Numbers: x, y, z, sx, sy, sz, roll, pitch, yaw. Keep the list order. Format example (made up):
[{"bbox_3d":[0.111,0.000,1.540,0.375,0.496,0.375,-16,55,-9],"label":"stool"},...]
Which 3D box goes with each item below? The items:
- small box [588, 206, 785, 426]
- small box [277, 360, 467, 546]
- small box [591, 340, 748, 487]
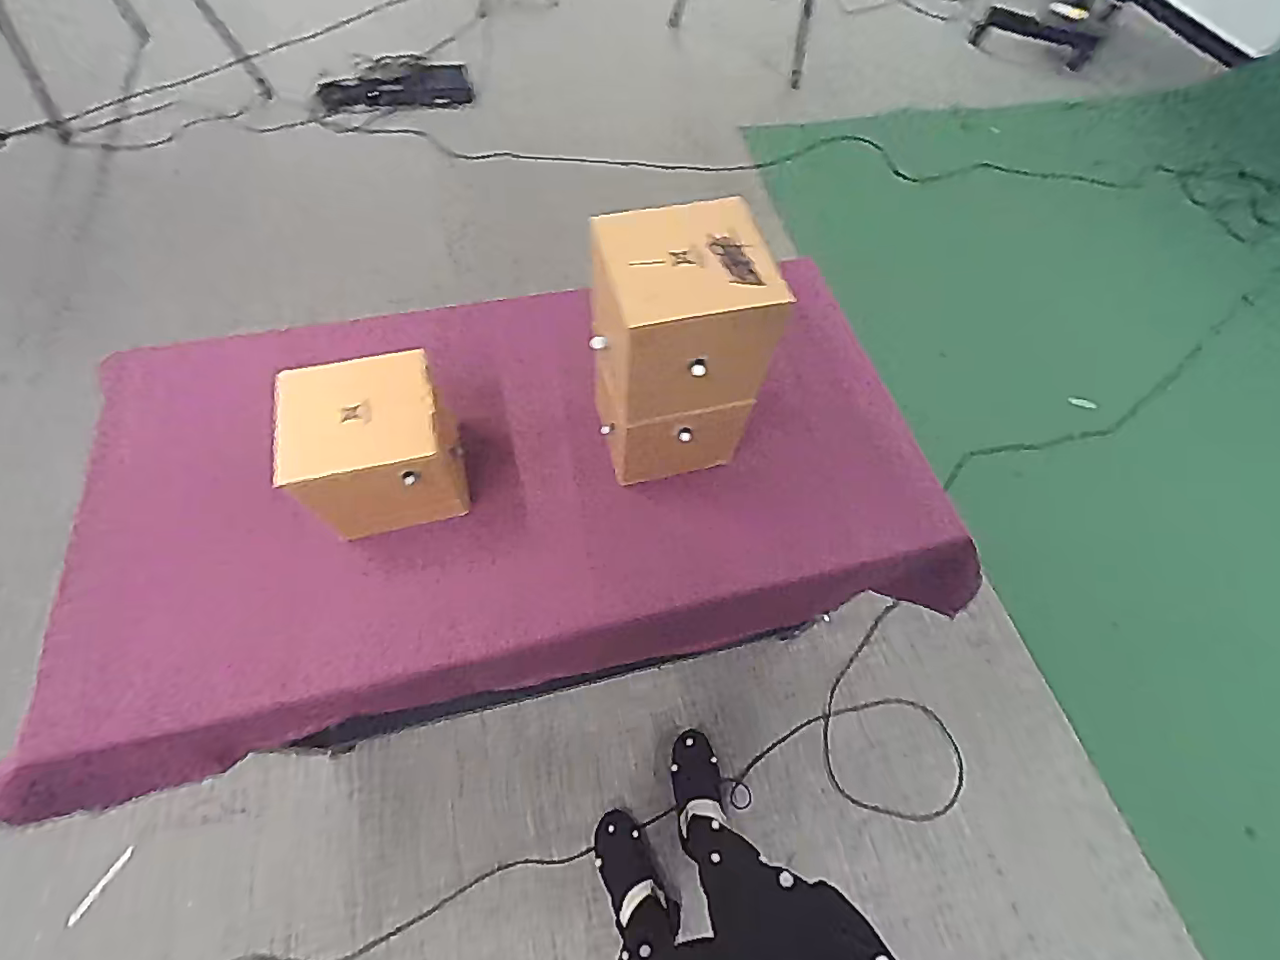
[{"bbox_3d":[0.041,-0.187,0.638,0.179,0.176,0.168,-13,63,-9],"label":"small box"},{"bbox_3d":[-0.346,-0.030,0.720,0.179,0.176,0.168,-13,63,-11],"label":"small box"},{"bbox_3d":[0.033,-0.107,0.782,0.179,0.176,0.168,-12,63,-10],"label":"small box"}]
